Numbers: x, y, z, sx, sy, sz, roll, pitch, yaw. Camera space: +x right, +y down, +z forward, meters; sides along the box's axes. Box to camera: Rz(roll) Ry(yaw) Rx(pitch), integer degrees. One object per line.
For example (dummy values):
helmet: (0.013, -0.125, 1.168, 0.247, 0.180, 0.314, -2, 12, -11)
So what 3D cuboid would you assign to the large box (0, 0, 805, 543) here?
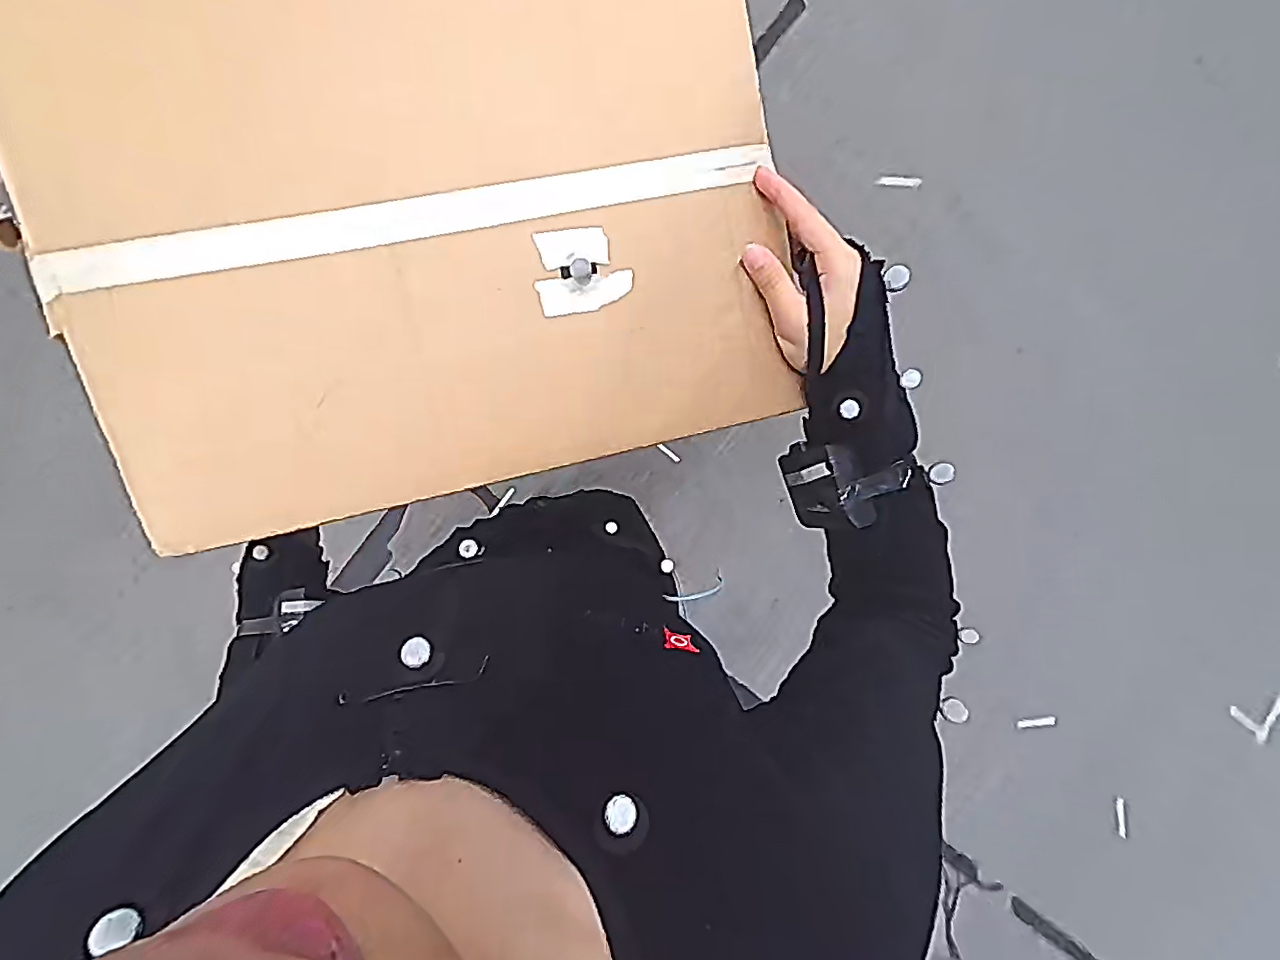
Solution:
large box: (-0.134, -0.173, 0.467, 0.408, 0.320, 0.320, -14, 100, -10)
